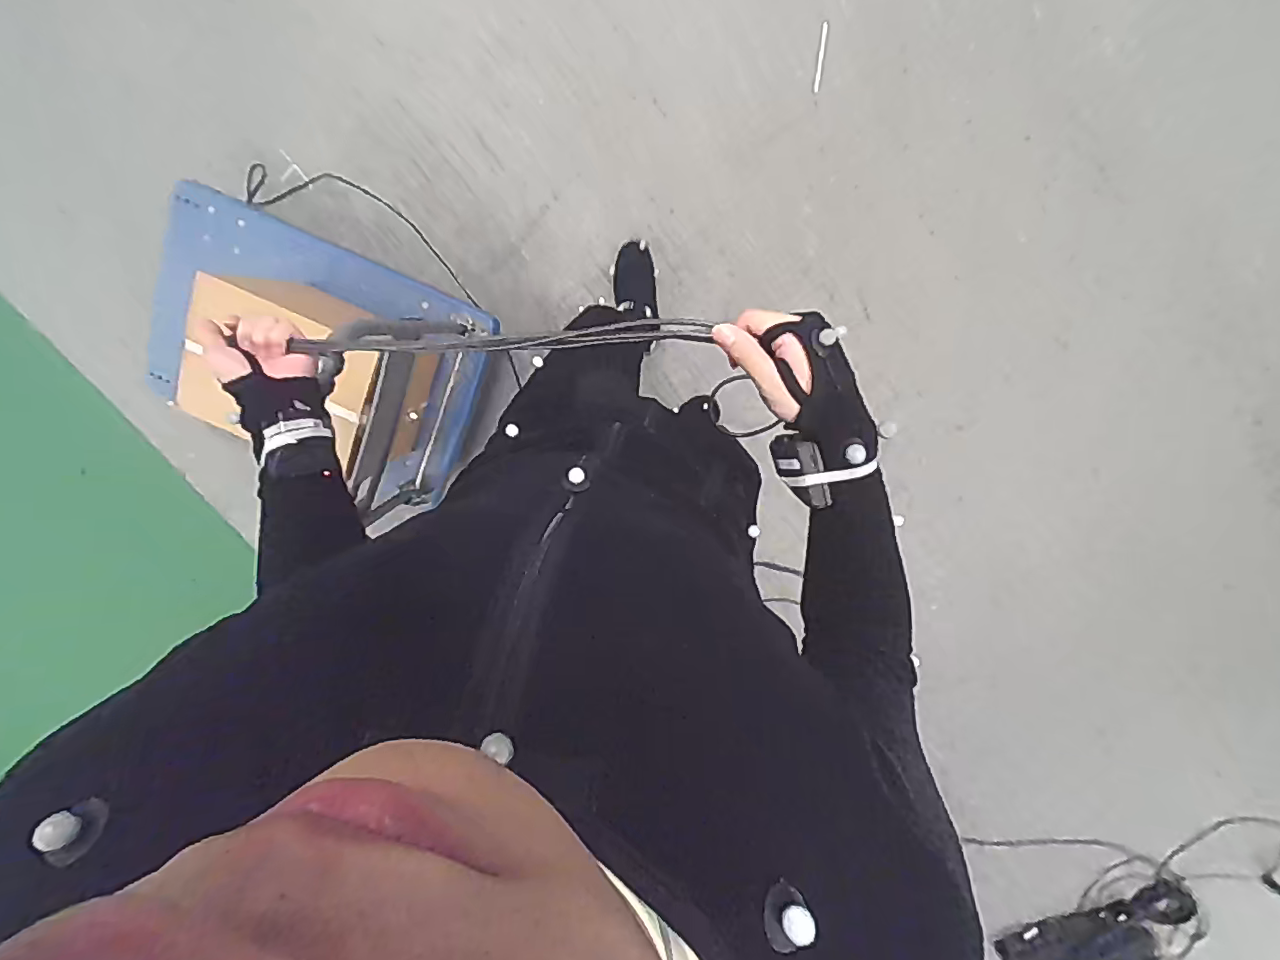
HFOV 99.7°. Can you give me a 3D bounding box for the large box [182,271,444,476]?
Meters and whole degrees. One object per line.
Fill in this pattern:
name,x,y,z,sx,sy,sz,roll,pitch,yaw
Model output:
large box,-0.749,-0.256,1.285,0.408,0.320,0.320,25,106,-1
